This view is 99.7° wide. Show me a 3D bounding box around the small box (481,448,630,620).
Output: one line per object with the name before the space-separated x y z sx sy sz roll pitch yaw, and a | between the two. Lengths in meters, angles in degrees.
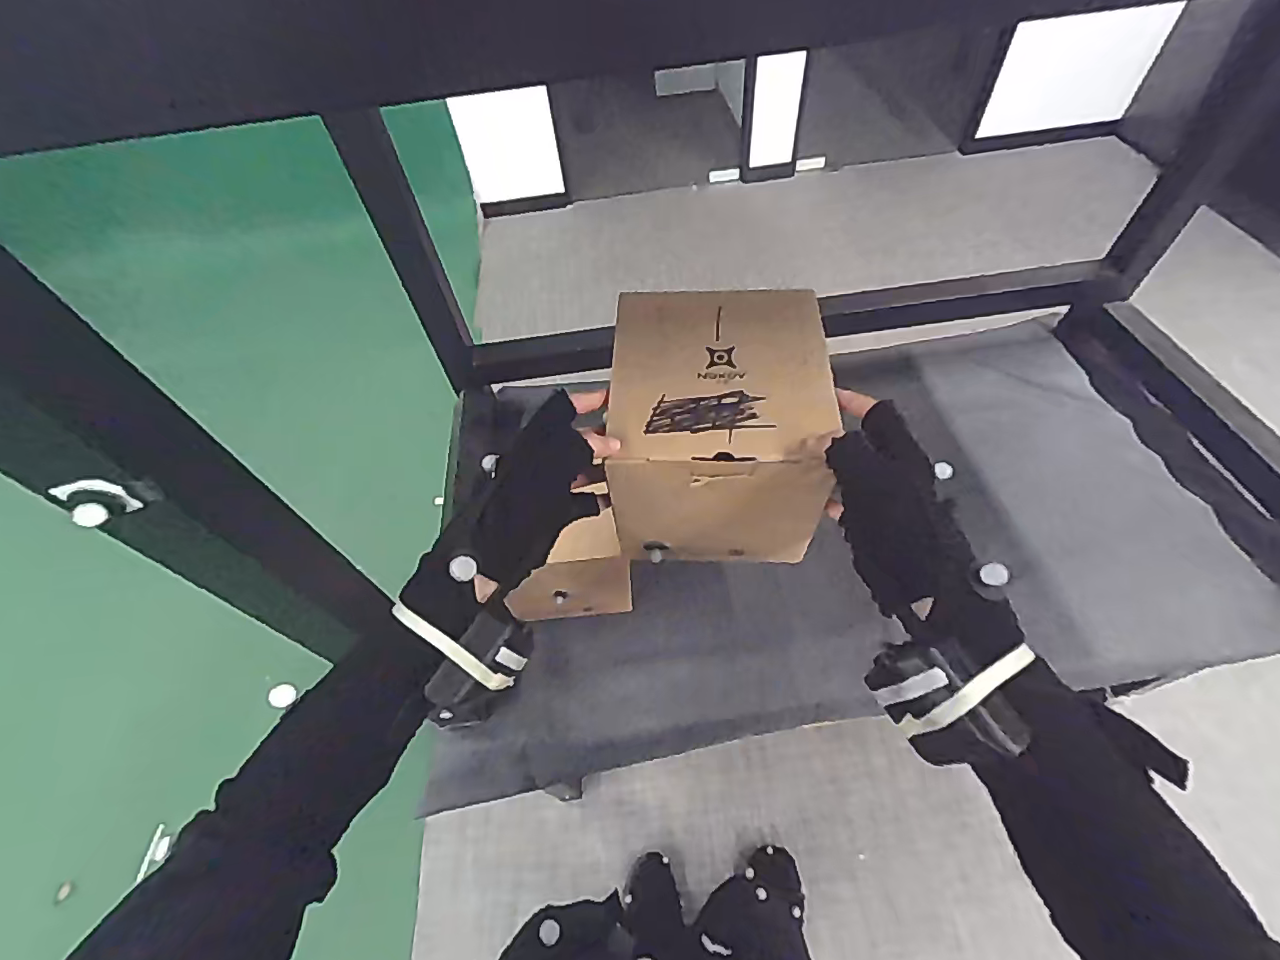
small box | -0.104 0.081 0.739 0.168 0.176 0.179 -5 53 1
